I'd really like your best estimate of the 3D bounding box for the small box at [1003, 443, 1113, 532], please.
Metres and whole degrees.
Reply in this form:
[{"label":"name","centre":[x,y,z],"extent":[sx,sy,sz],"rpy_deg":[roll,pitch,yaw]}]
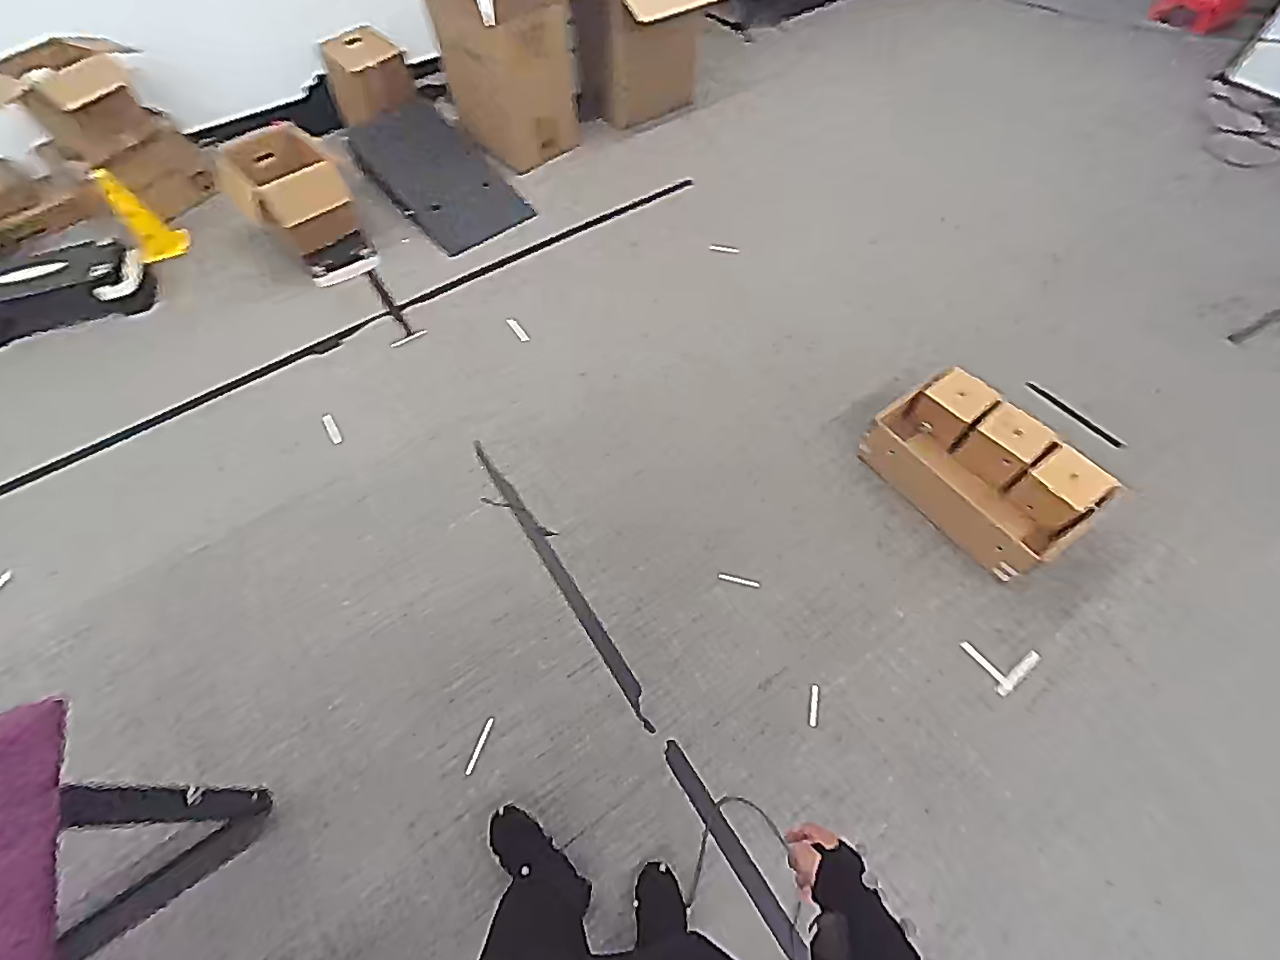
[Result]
[{"label":"small box","centre":[1.256,0.025,1.642],"extent":[0.179,0.176,0.168],"rpy_deg":[-33,62,-14]}]
